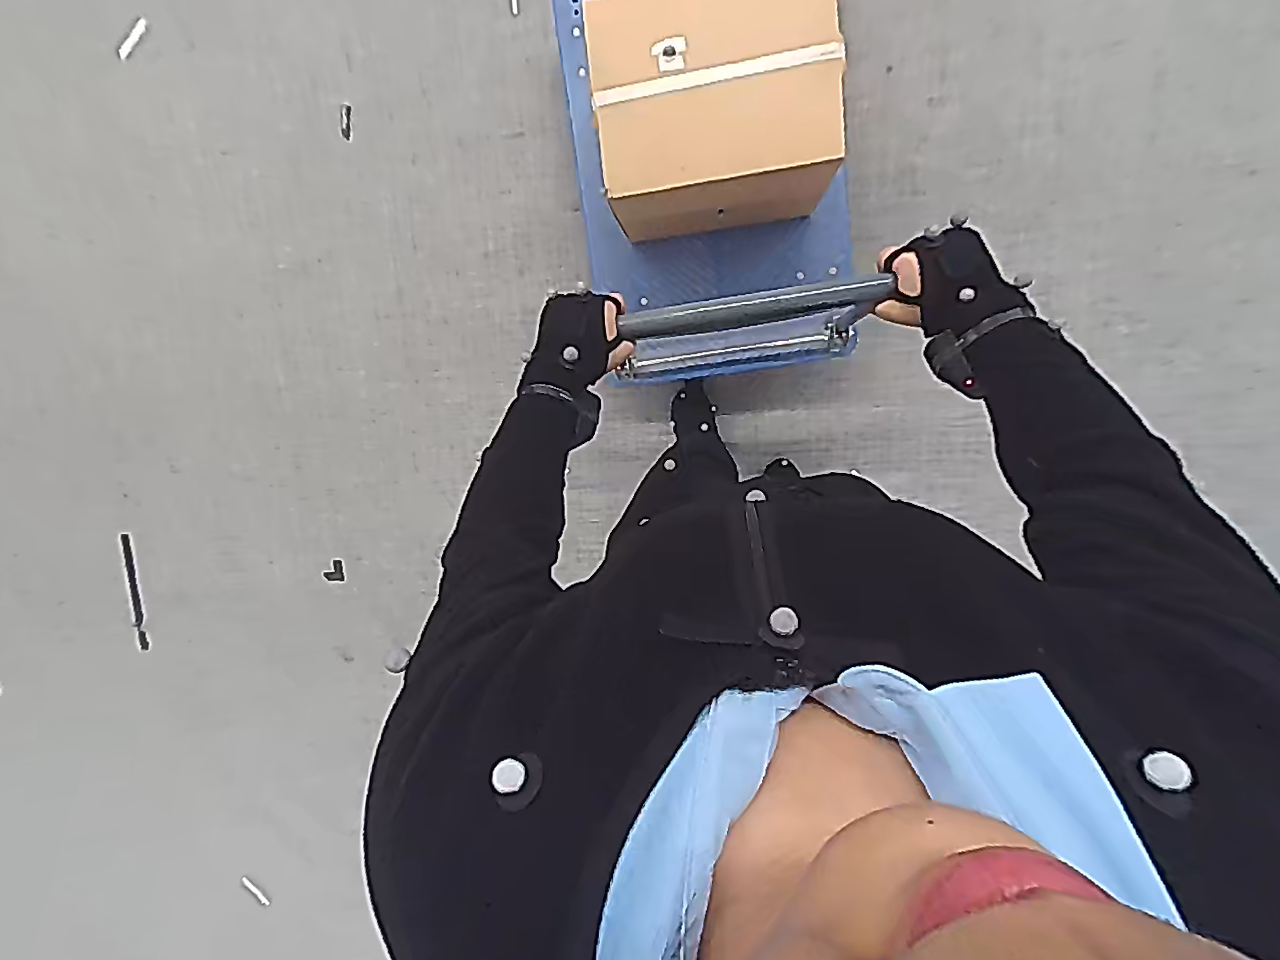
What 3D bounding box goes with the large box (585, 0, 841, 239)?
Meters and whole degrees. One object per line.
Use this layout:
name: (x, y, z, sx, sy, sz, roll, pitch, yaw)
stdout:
large box: (0.142, -0.694, 1.048, 0.408, 0.320, 0.320, -6, 98, 9)
